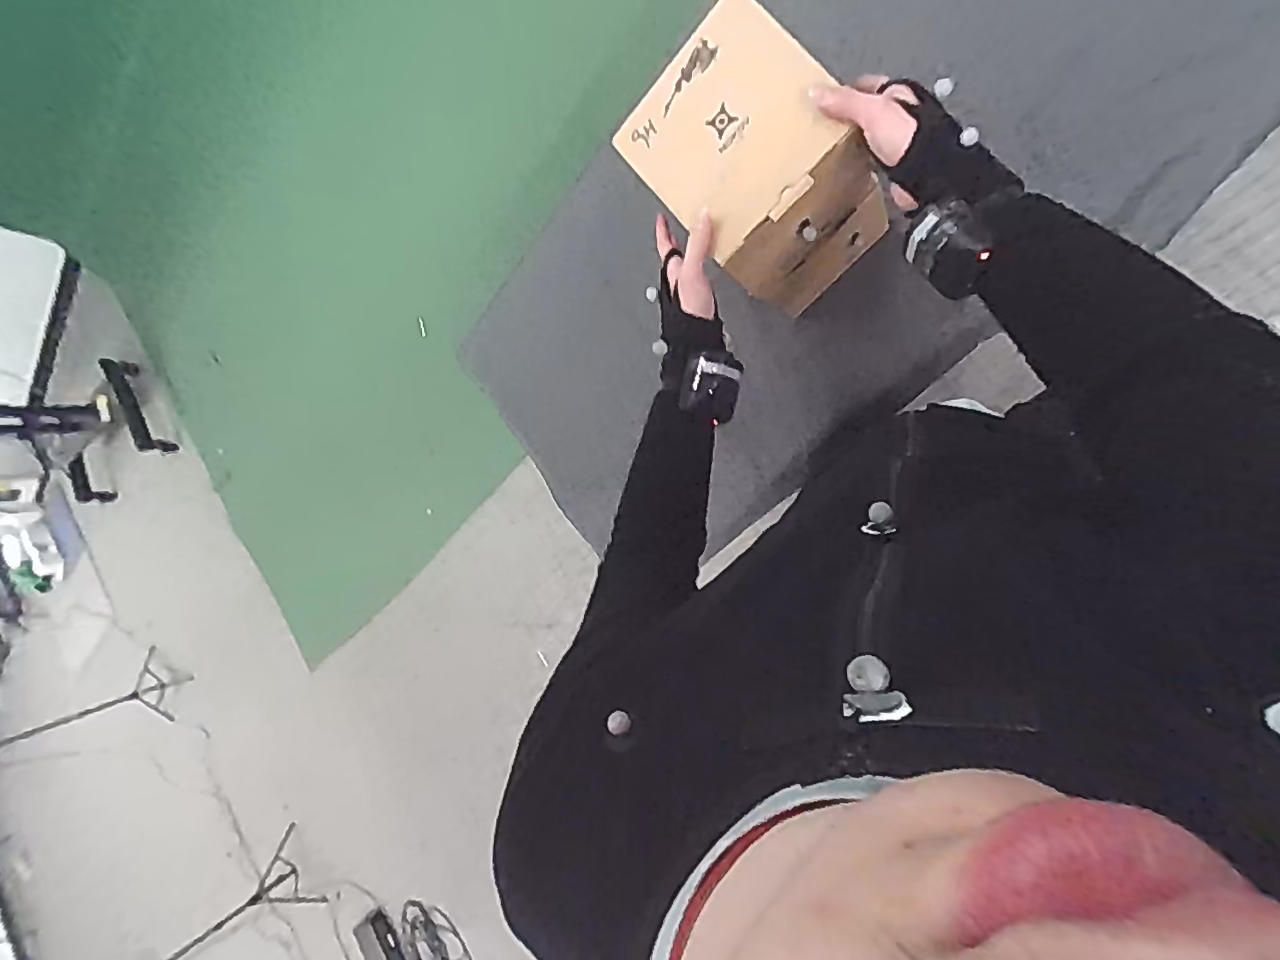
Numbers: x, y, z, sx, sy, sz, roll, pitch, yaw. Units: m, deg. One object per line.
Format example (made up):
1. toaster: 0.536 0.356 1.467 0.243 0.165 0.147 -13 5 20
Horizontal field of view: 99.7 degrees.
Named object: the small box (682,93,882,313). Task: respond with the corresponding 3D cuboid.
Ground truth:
1. small box: 0.192 -0.340 0.706 0.168 0.176 0.179 -43 76 24
